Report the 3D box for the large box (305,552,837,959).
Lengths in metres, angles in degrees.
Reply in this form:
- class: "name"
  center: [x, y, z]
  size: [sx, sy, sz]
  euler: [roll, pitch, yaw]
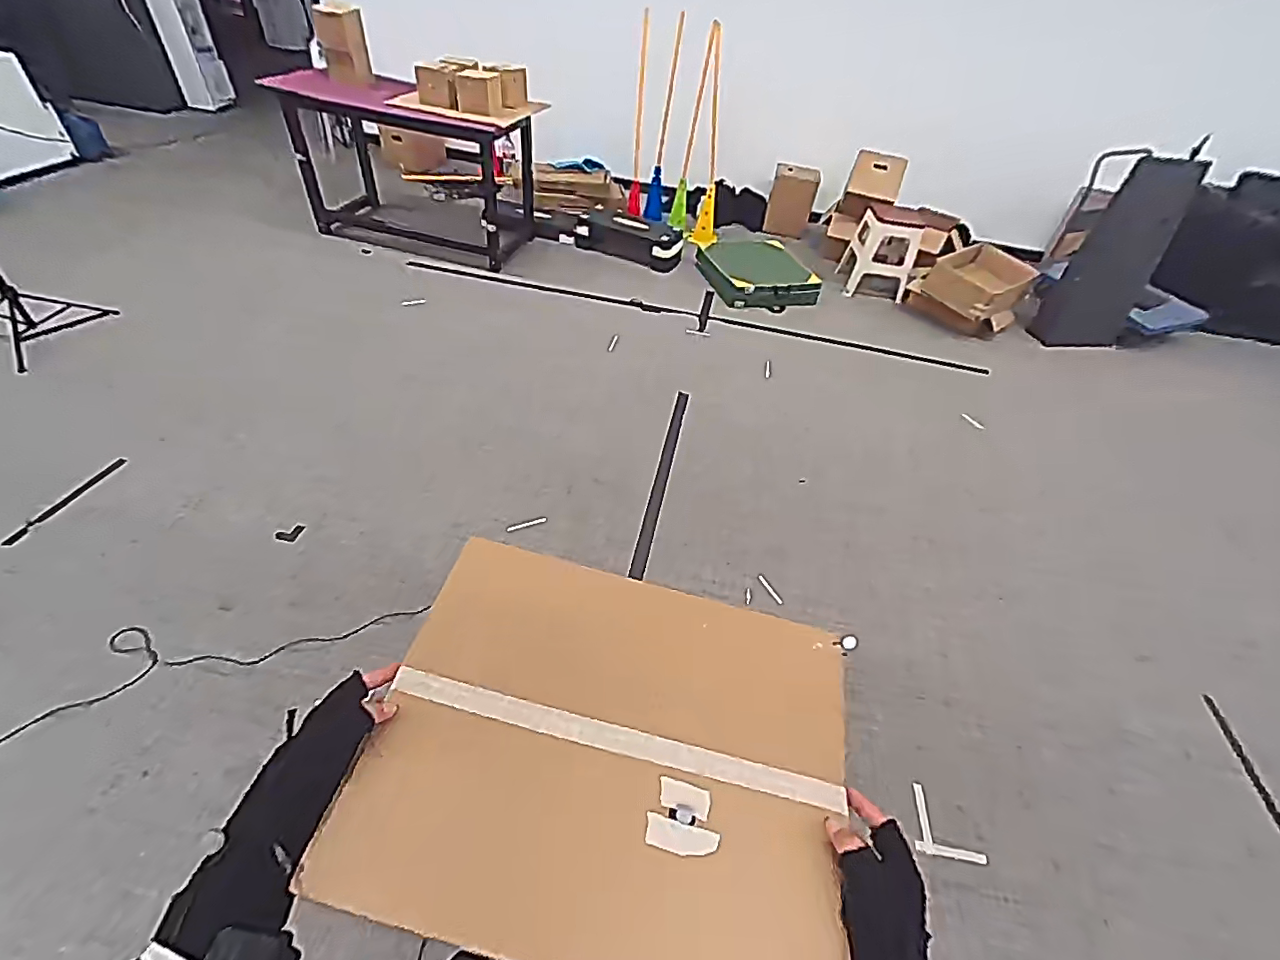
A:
- class: "large box"
  center: [-0.044, 0.329, 0.592]
  size: [0.408, 0.320, 0.320]
  euler: [15, 51, 2]
